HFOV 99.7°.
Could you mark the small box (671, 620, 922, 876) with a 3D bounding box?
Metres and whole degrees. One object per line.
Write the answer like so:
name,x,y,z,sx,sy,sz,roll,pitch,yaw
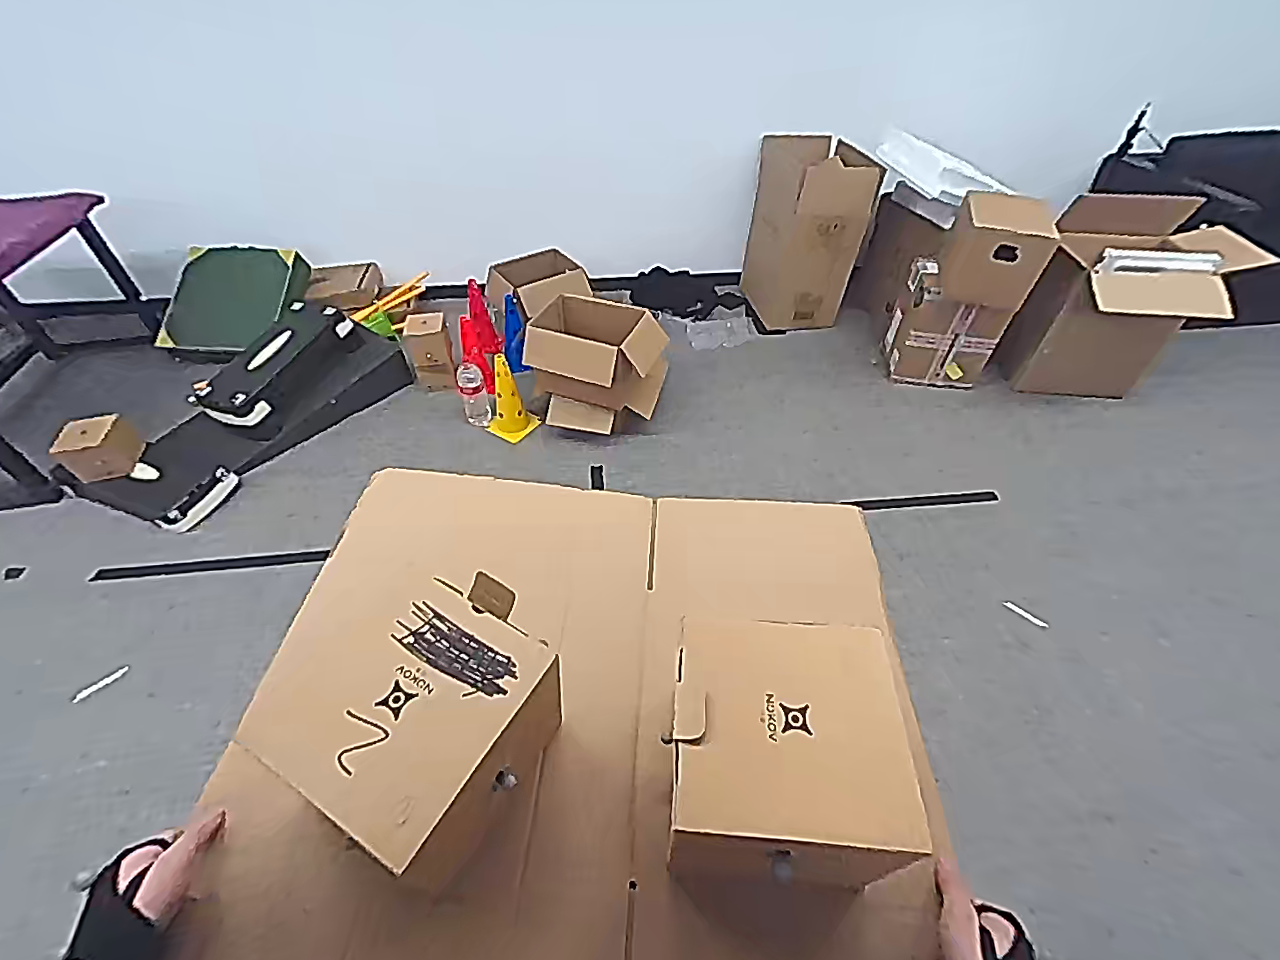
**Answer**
small box,0.120,0.246,0.493,0.179,0.176,0.168,2,47,5
